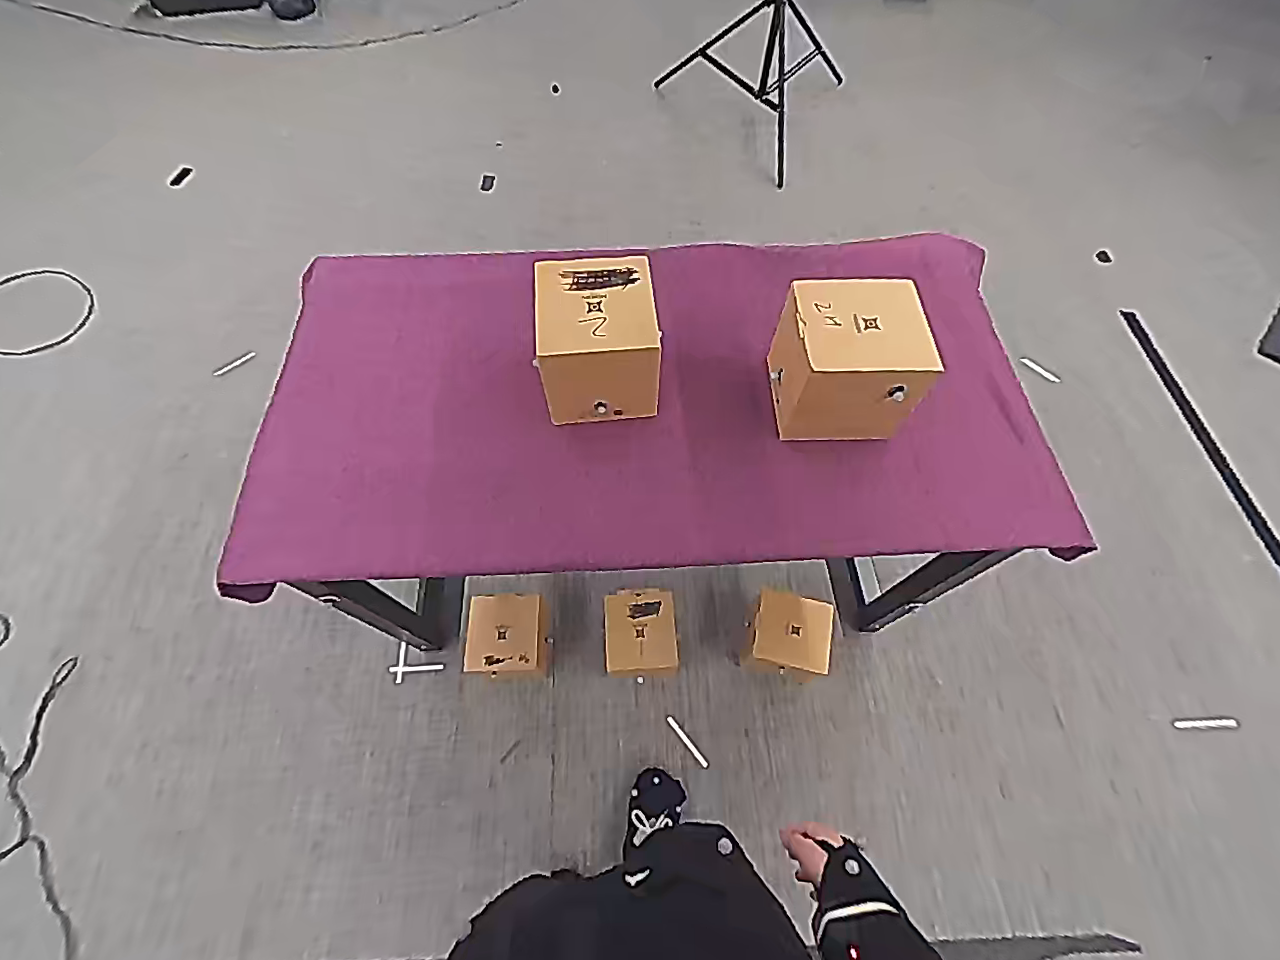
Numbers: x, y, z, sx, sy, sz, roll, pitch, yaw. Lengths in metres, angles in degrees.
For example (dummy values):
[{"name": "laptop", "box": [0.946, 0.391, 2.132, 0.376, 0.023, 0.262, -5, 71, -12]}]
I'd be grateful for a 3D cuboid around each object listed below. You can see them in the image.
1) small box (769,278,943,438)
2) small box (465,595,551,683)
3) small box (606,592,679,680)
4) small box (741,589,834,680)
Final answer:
[{"name": "small box", "box": [0.301, -0.173, 0.796, 0.179, 0.176, 0.168, -1, 62, 0]}, {"name": "small box", "box": [-0.315, 0.393, 1.323, 0.168, 0.176, 0.179, -1, 61, -1]}, {"name": "small box", "box": [0.002, 0.386, 1.327, 0.168, 0.176, 0.179, -3, 63, -1]}, {"name": "small box", "box": [0.359, 0.386, 1.329, 0.179, 0.176, 0.168, 12, 64, 7]}]
